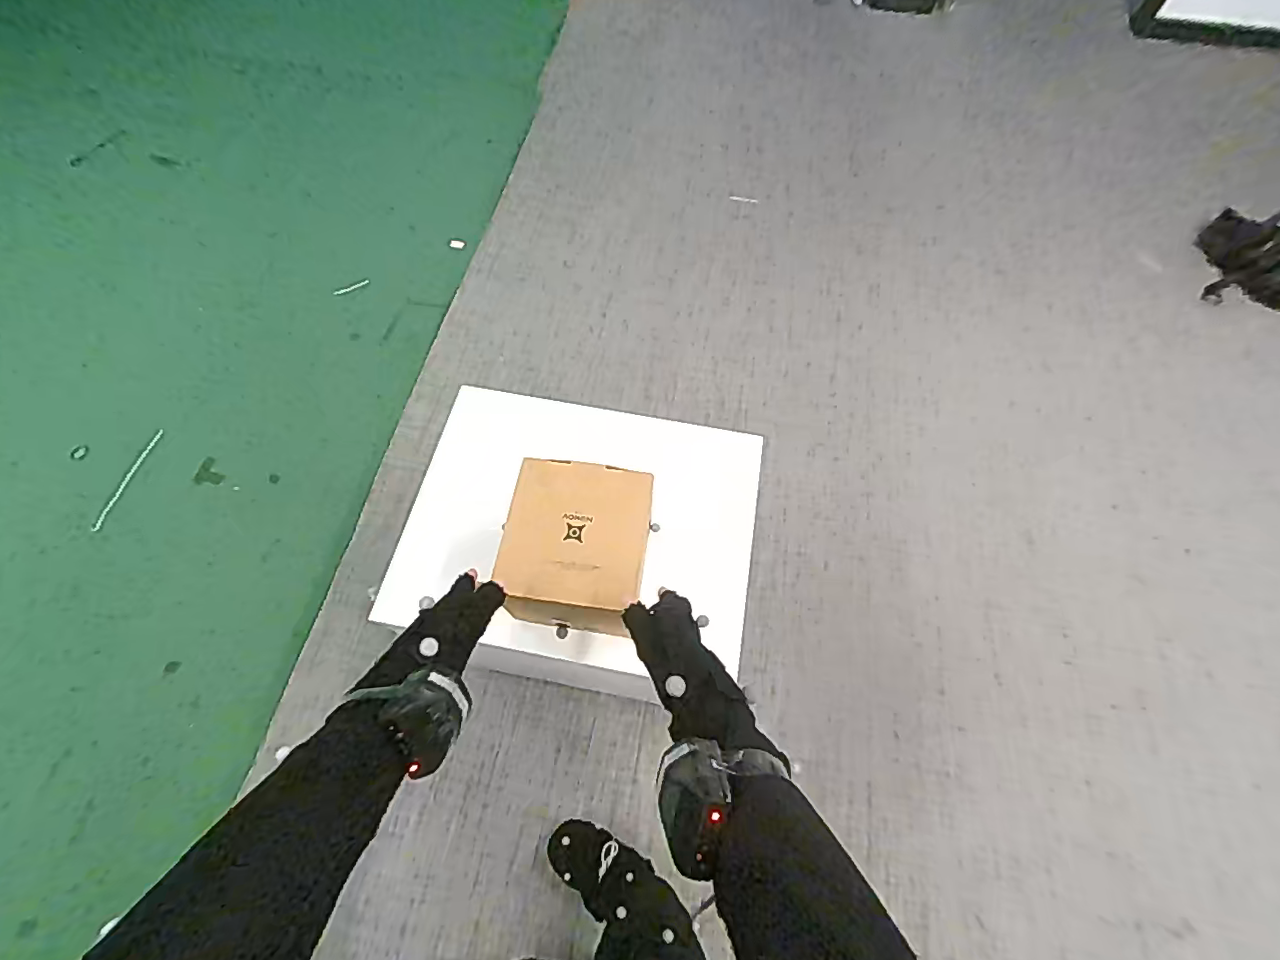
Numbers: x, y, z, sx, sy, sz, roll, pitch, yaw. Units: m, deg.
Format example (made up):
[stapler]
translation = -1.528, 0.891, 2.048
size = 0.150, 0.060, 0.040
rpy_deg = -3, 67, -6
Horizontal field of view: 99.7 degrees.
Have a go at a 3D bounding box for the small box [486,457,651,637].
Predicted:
[small box]
translation = -0.079, 0.092, 0.698
size = 0.168, 0.176, 0.179
rpy_deg = 6, 66, 4
